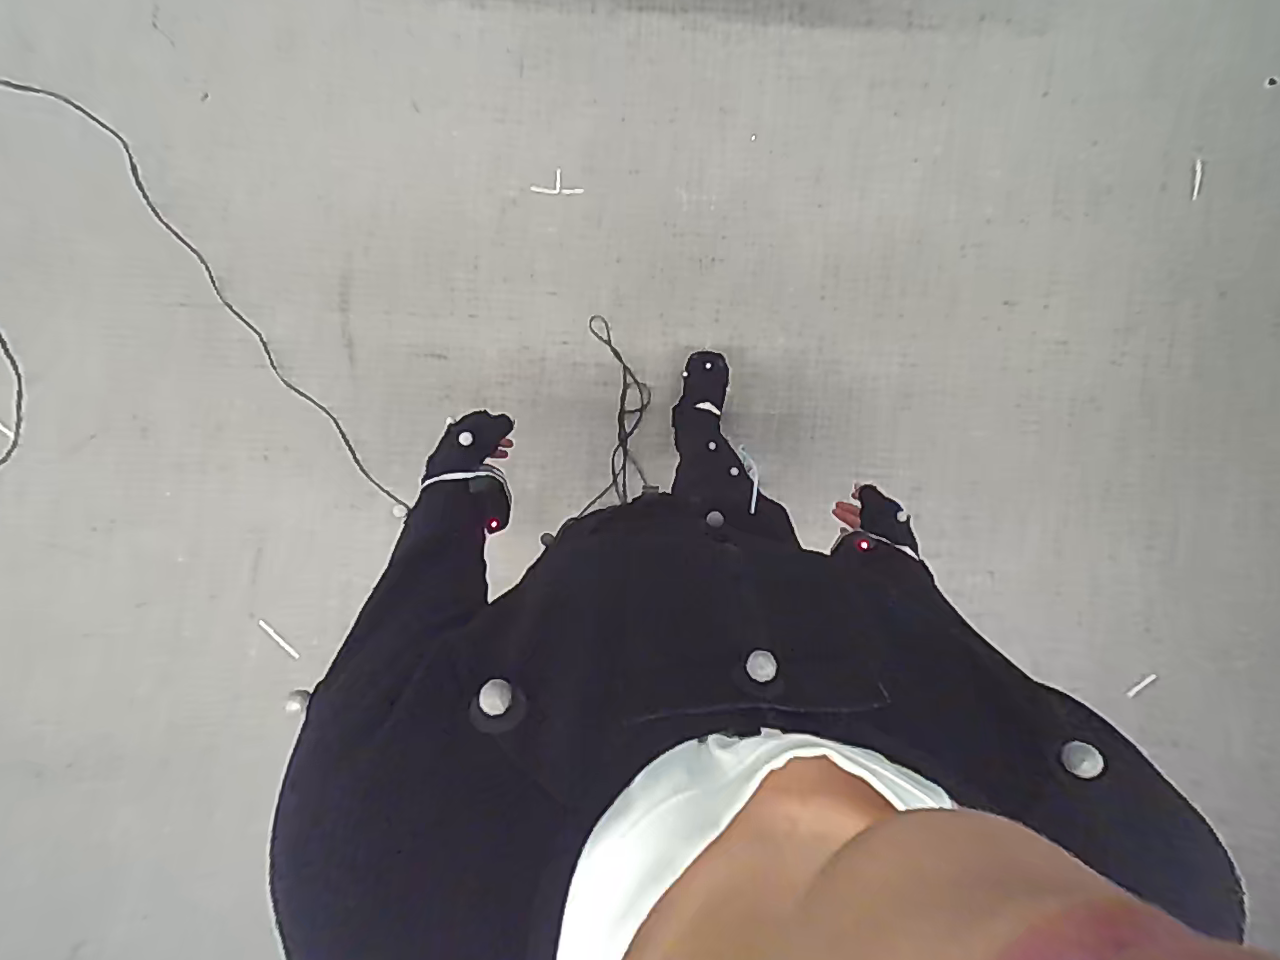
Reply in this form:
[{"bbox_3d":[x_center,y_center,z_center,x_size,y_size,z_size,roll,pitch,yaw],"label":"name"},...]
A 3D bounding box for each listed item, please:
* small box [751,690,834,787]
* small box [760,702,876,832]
[{"bbox_3d":[0.391,0.666,1.409,0.179,0.176,0.168,-4,93,-3],"label":"small box"},{"bbox_3d":[0.404,0.657,1.262,0.168,0.176,0.179,31,92,-3],"label":"small box"}]
